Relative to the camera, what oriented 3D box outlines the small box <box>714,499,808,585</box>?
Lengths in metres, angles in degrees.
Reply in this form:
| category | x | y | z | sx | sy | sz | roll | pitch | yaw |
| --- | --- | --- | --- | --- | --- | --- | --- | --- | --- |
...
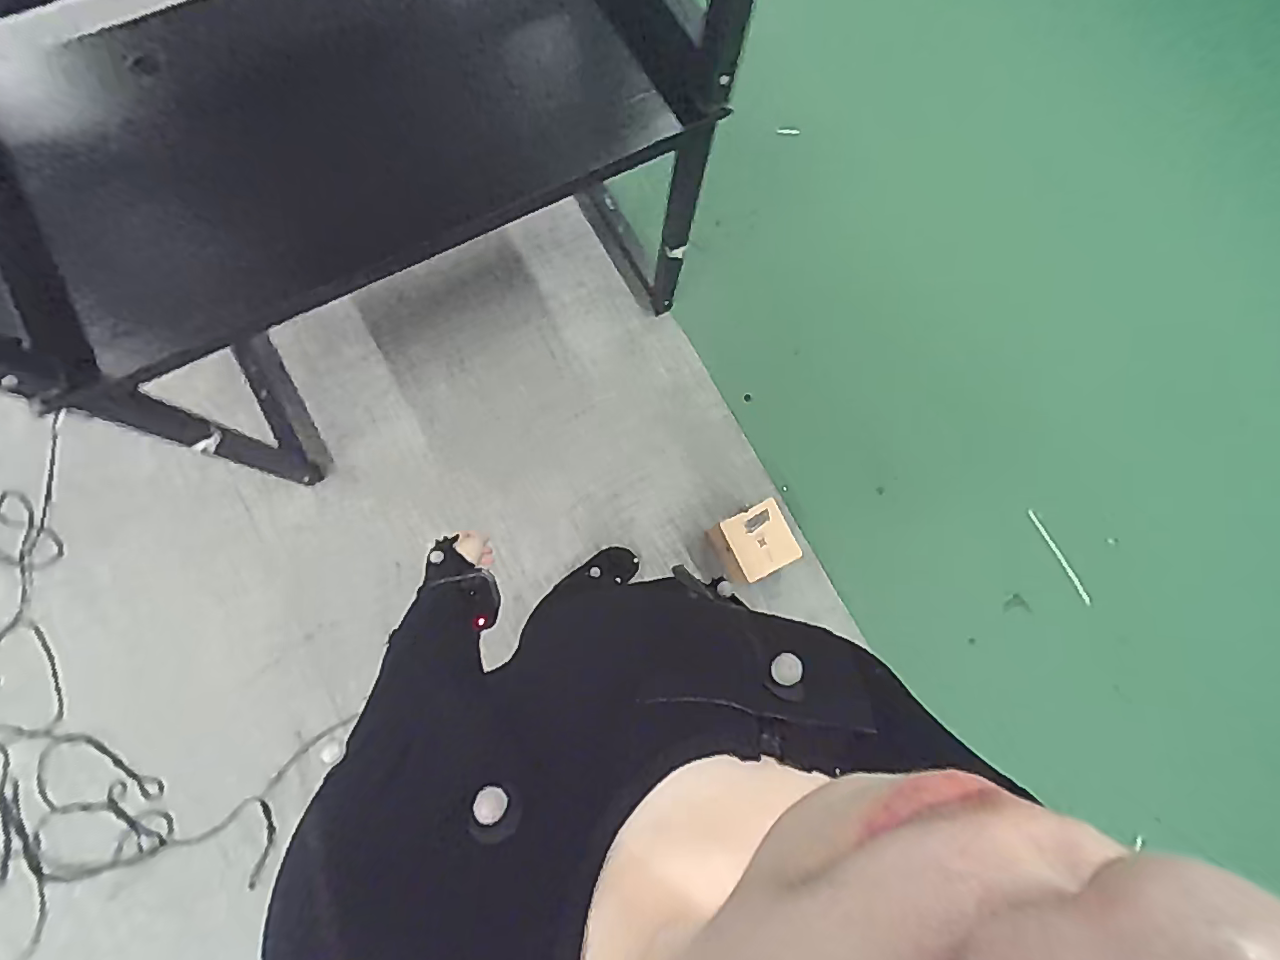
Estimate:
| category | x | y | z | sx | sy | sz | roll | pitch | yaw |
| --- | --- | --- | --- | --- | --- | --- | --- | --- | --- |
| small box | 0.317 | 0.172 | 1.461 | 0.168 | 0.176 | 0.179 | -25 | 82 | -7 |
